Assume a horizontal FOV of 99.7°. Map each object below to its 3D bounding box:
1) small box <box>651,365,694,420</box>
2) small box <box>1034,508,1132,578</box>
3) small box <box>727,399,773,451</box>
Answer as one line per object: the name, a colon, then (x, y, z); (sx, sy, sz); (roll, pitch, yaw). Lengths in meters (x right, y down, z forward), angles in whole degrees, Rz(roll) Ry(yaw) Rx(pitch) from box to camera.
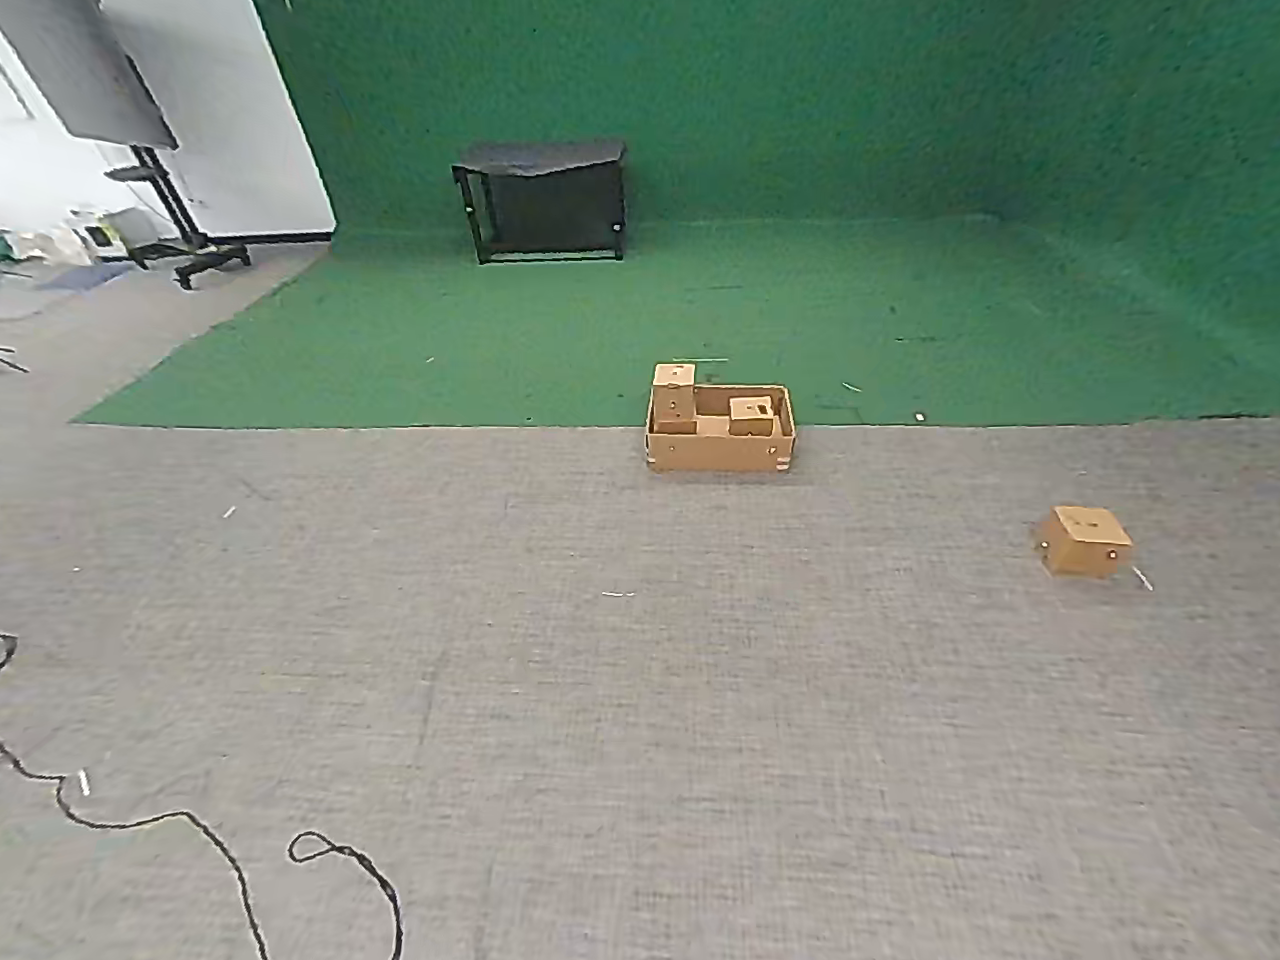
small box: (0.141, -0.365, 2.267); (0.168, 0.176, 0.179); (2, 42, 7)
small box: (1.485, 0.215, 1.826); (0.179, 0.176, 0.168); (4, 41, 9)
small box: (0.472, -0.237, 2.344); (0.179, 0.176, 0.168); (0, 42, 6)
